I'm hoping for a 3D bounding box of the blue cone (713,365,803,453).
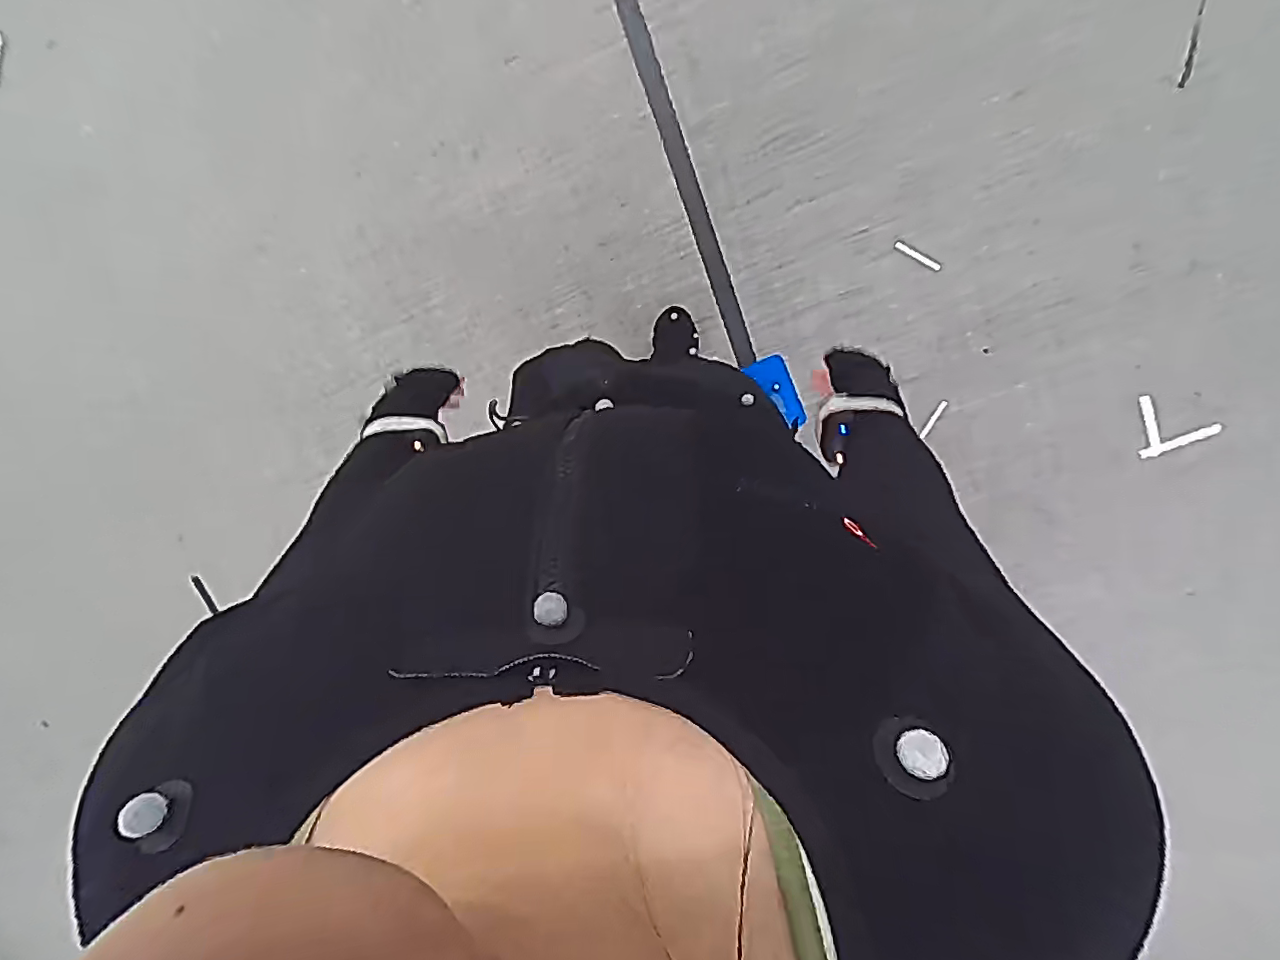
[{"bbox_3d":[0.292,-0.133,1.224,0.192,0.380,0.193,-26,103,12],"label":"blue cone"}]
